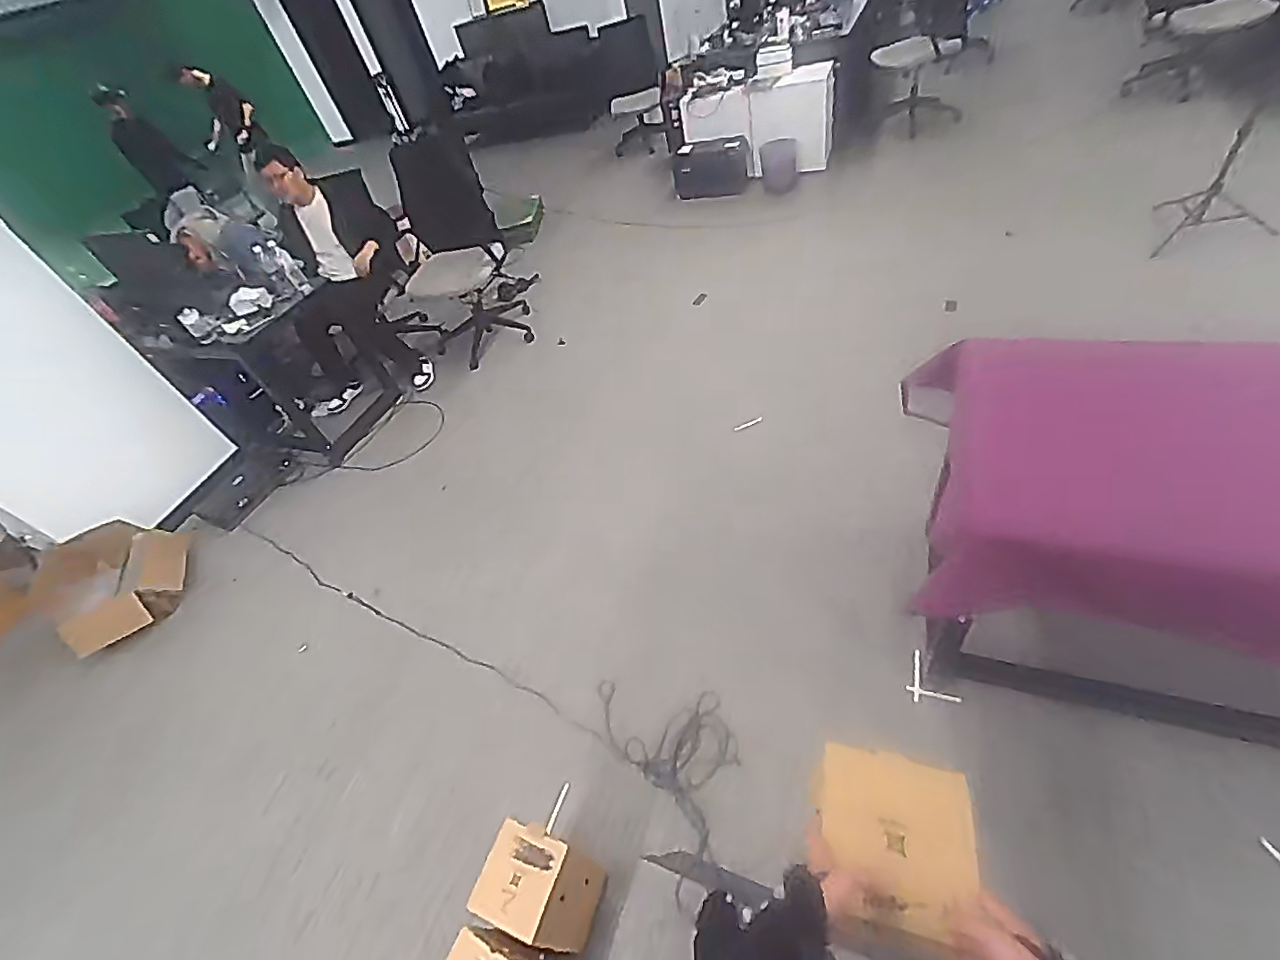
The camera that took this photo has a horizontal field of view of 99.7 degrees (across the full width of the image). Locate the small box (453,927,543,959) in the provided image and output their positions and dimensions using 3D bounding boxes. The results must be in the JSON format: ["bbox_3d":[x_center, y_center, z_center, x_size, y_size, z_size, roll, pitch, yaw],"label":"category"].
[{"bbox_3d":[-0.290,1.032,1.072,0.168,0.176,0.179,11,56,27],"label":"small box"}]

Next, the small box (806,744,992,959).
[{"bbox_3d":[0.301,0.462,0.662,0.168,0.176,0.179,8,47,16],"label":"small box"}]
